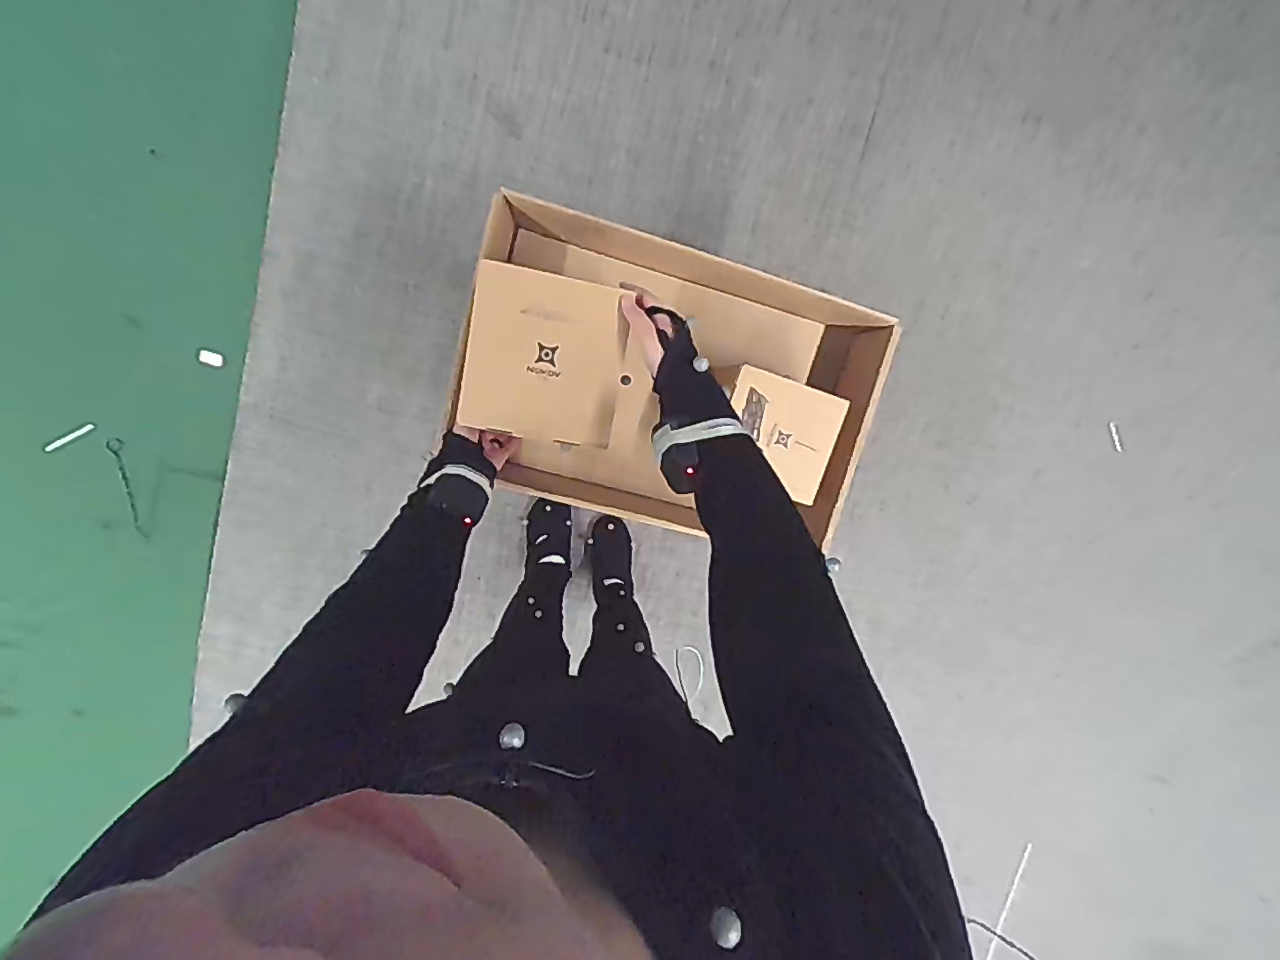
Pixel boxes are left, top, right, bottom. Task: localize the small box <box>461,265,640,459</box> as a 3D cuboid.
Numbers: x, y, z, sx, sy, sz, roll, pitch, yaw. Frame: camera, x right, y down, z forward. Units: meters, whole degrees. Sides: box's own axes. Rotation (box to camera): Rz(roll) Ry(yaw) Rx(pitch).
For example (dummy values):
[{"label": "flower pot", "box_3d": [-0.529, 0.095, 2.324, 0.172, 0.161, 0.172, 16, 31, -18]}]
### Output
[{"label": "small box", "box_3d": [-0.102, -0.135, 0.651, 0.168, 0.176, 0.179, 10, 98, -8]}]
